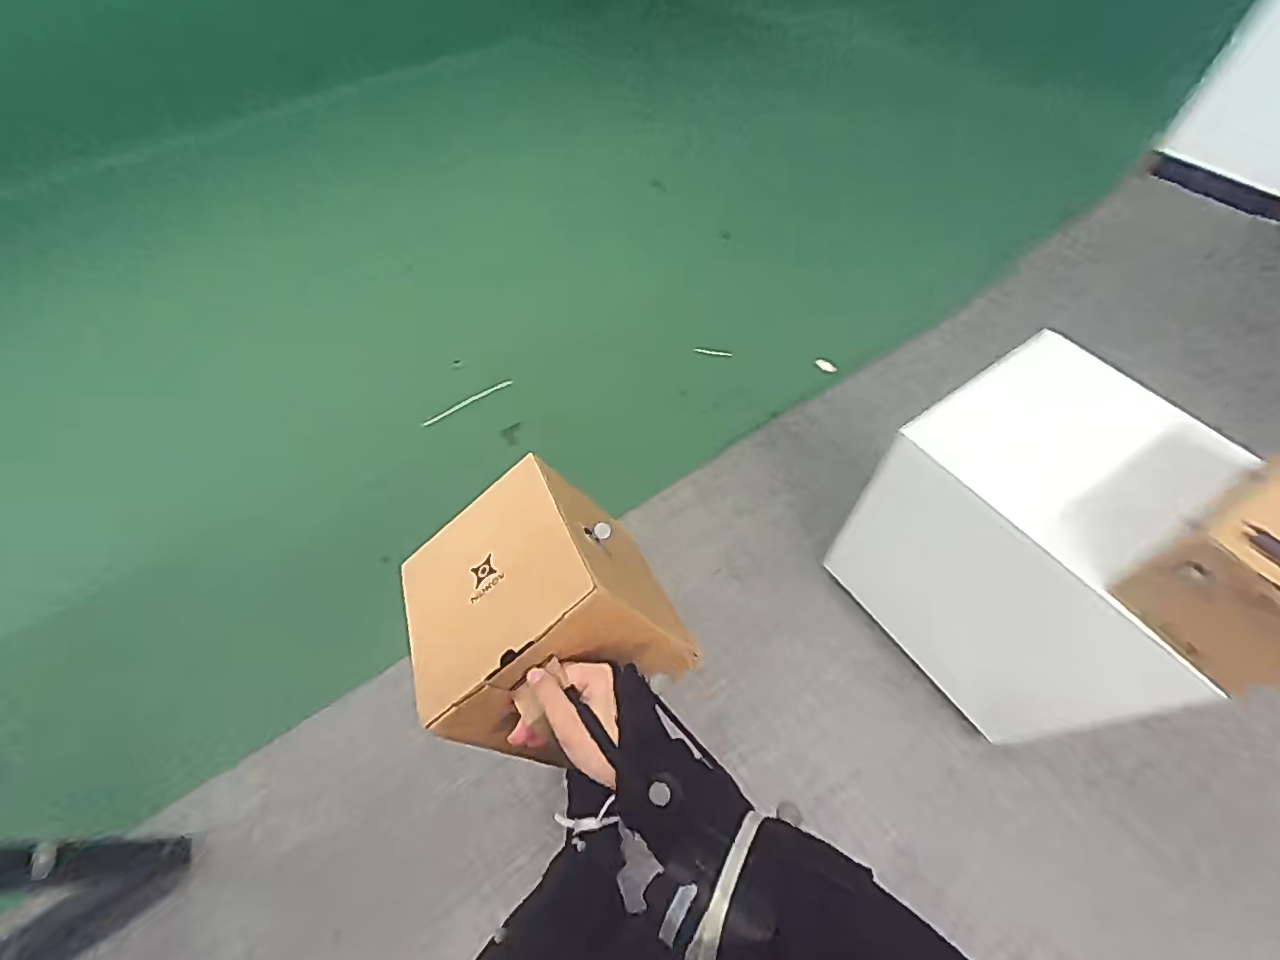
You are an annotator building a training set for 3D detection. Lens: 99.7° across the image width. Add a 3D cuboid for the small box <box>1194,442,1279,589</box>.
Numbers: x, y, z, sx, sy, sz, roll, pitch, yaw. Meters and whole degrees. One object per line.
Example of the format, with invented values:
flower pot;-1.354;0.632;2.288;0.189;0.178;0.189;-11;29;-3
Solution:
small box;0.898;0.033;0.703;0.179;0.176;0.168;-32;61;-17
